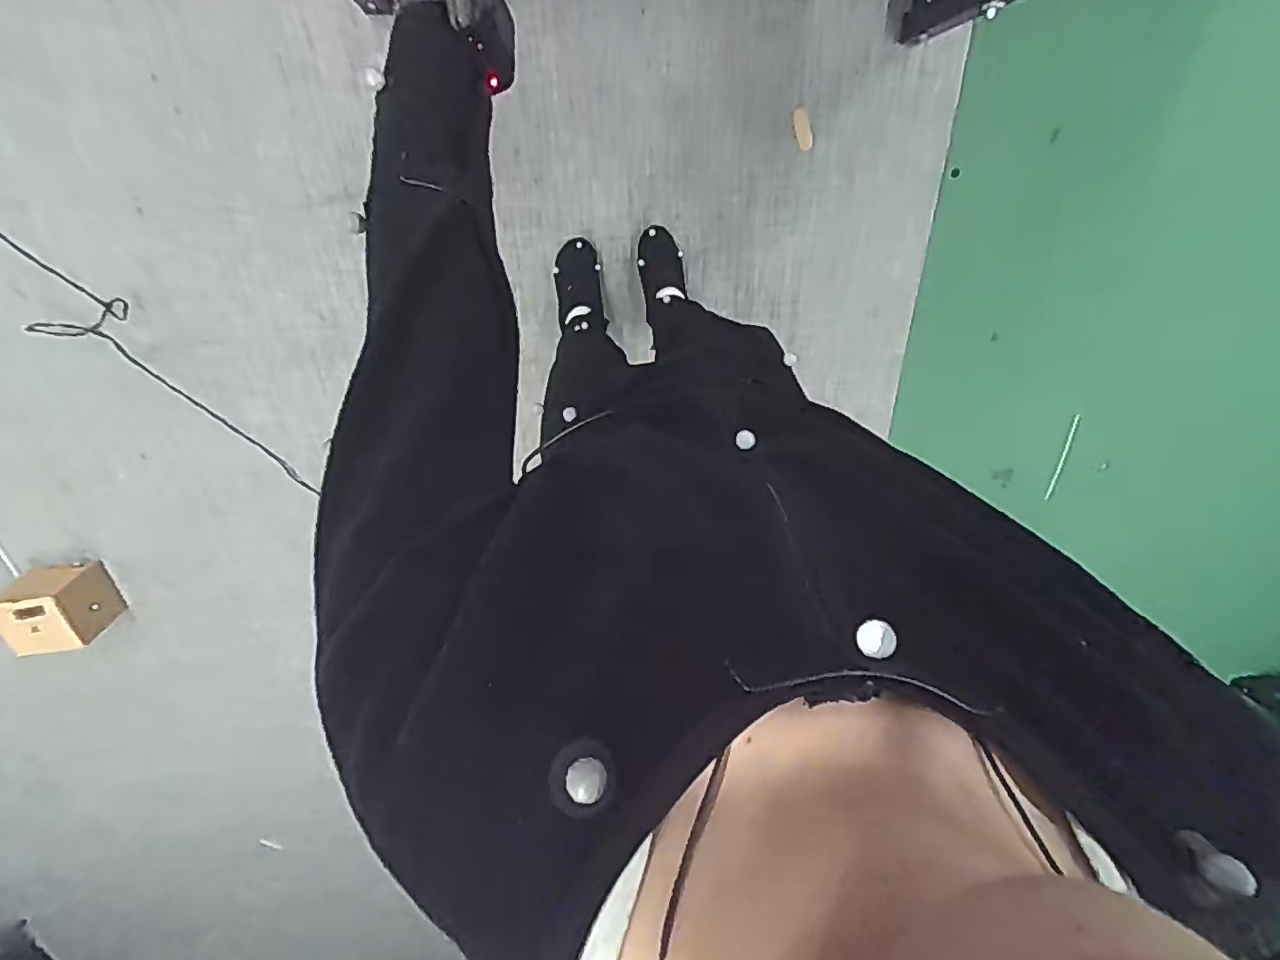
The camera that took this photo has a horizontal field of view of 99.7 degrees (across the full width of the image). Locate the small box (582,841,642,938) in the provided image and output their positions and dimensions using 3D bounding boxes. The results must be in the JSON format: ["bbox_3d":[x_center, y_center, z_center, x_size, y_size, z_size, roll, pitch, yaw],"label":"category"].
[{"bbox_3d":[-0.089,1.252,1.659,0.168,0.176,0.179,-4,118,-10],"label":"small box"}]

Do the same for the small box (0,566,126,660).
[{"bbox_3d":[-1.538,0.342,1.430,0.168,0.176,0.179,-6,118,-6],"label":"small box"}]
